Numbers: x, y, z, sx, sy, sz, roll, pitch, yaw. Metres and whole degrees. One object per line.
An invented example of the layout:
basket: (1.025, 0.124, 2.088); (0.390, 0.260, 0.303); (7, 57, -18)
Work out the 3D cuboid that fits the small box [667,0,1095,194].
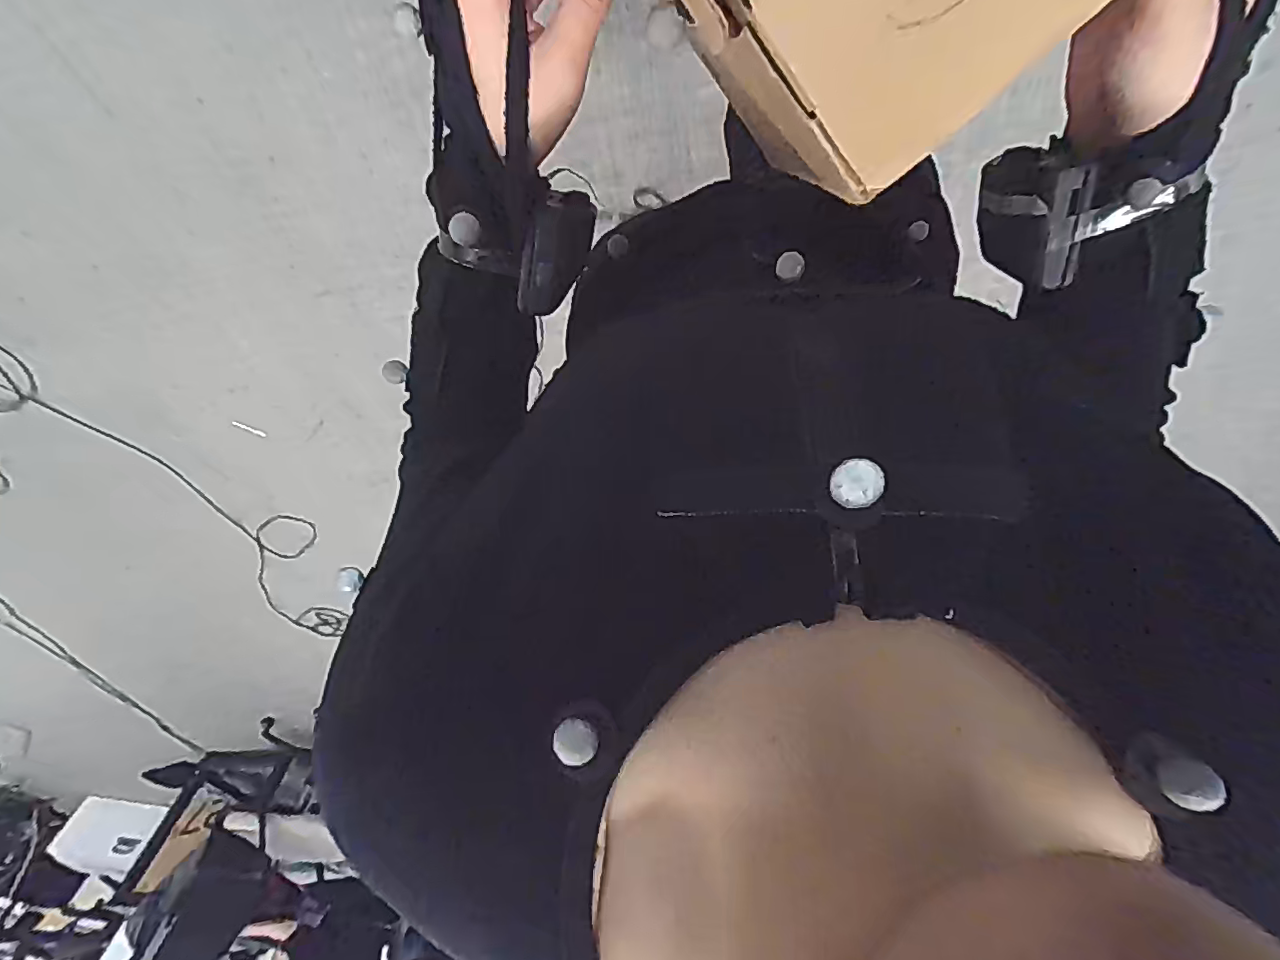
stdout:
small box: (0.083, -0.232, 0.179); (0.179, 0.176, 0.168); (-37, 114, 24)
